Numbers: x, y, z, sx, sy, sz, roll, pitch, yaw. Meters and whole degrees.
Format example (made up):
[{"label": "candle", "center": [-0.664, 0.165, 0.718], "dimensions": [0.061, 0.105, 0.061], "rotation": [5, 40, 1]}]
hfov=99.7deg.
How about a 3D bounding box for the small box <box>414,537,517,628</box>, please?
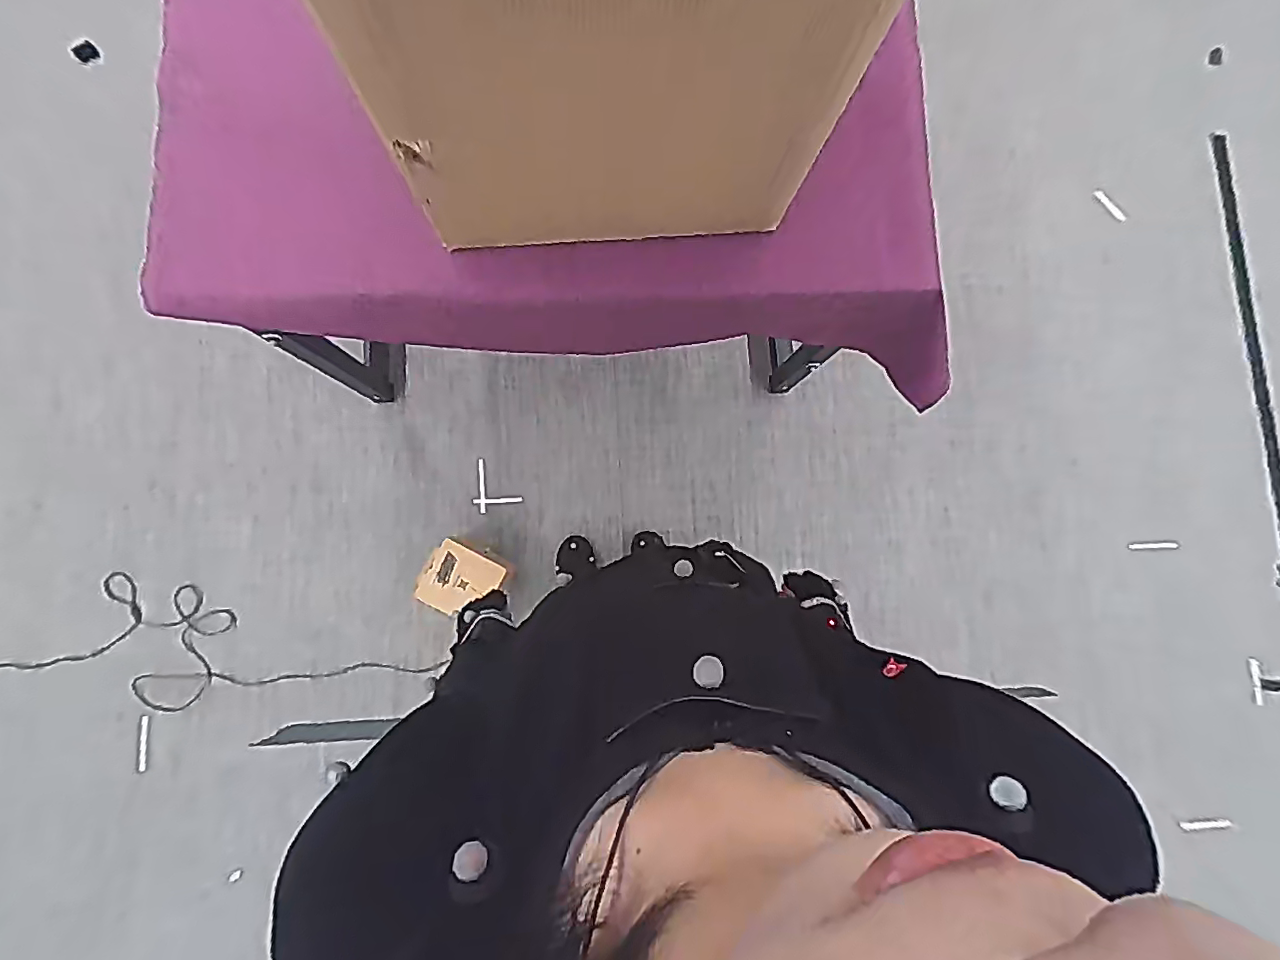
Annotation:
[{"label": "small box", "center": [-0.443, 0.261, 1.402], "dimensions": [0.179, 0.176, 0.168], "rotation": [28, 83, -1]}]
